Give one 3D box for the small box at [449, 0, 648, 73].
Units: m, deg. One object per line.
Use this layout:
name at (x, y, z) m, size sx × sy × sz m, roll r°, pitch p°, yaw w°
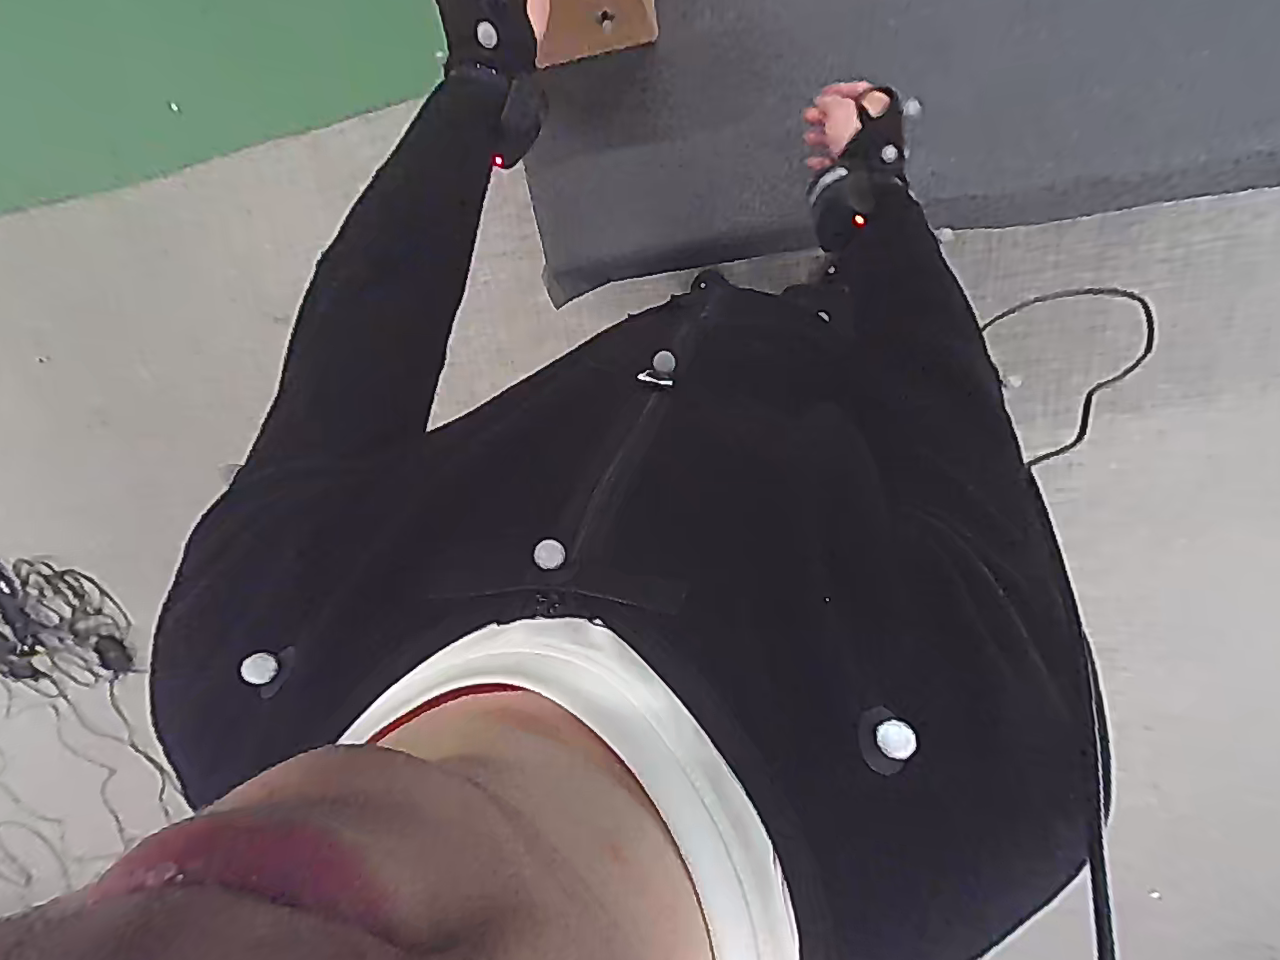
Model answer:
small box at (-0.089, -0.546, 0.542) m, size 0.179 × 0.176 × 0.168 m, roll -3°, pitch 108°, yaw 11°
